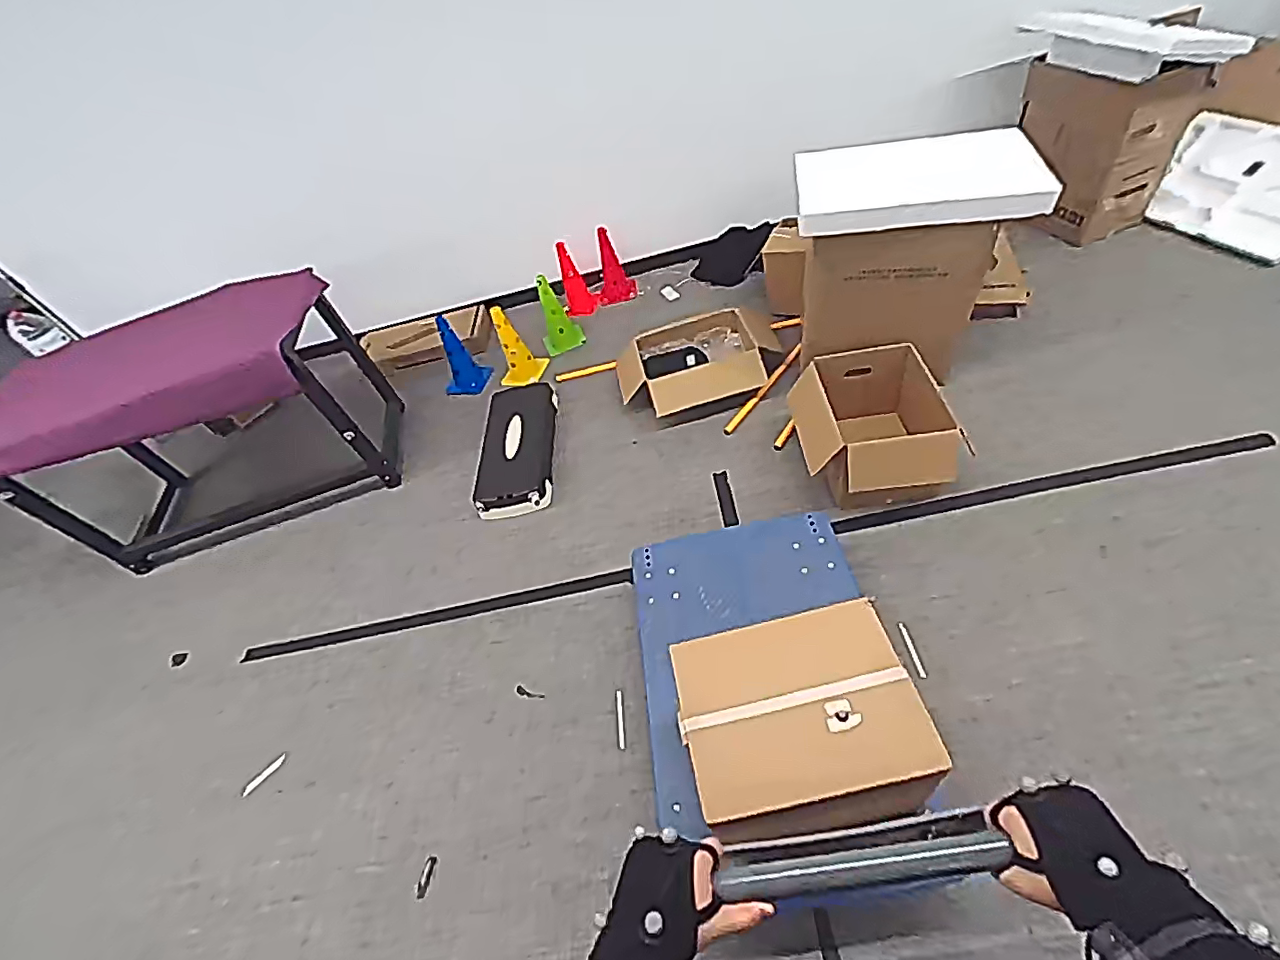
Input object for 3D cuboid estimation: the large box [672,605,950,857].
[{"bbox_3d":[0.306,0.502,1.071,0.408,0.320,0.320,-14,48,2],"label":"large box"}]
